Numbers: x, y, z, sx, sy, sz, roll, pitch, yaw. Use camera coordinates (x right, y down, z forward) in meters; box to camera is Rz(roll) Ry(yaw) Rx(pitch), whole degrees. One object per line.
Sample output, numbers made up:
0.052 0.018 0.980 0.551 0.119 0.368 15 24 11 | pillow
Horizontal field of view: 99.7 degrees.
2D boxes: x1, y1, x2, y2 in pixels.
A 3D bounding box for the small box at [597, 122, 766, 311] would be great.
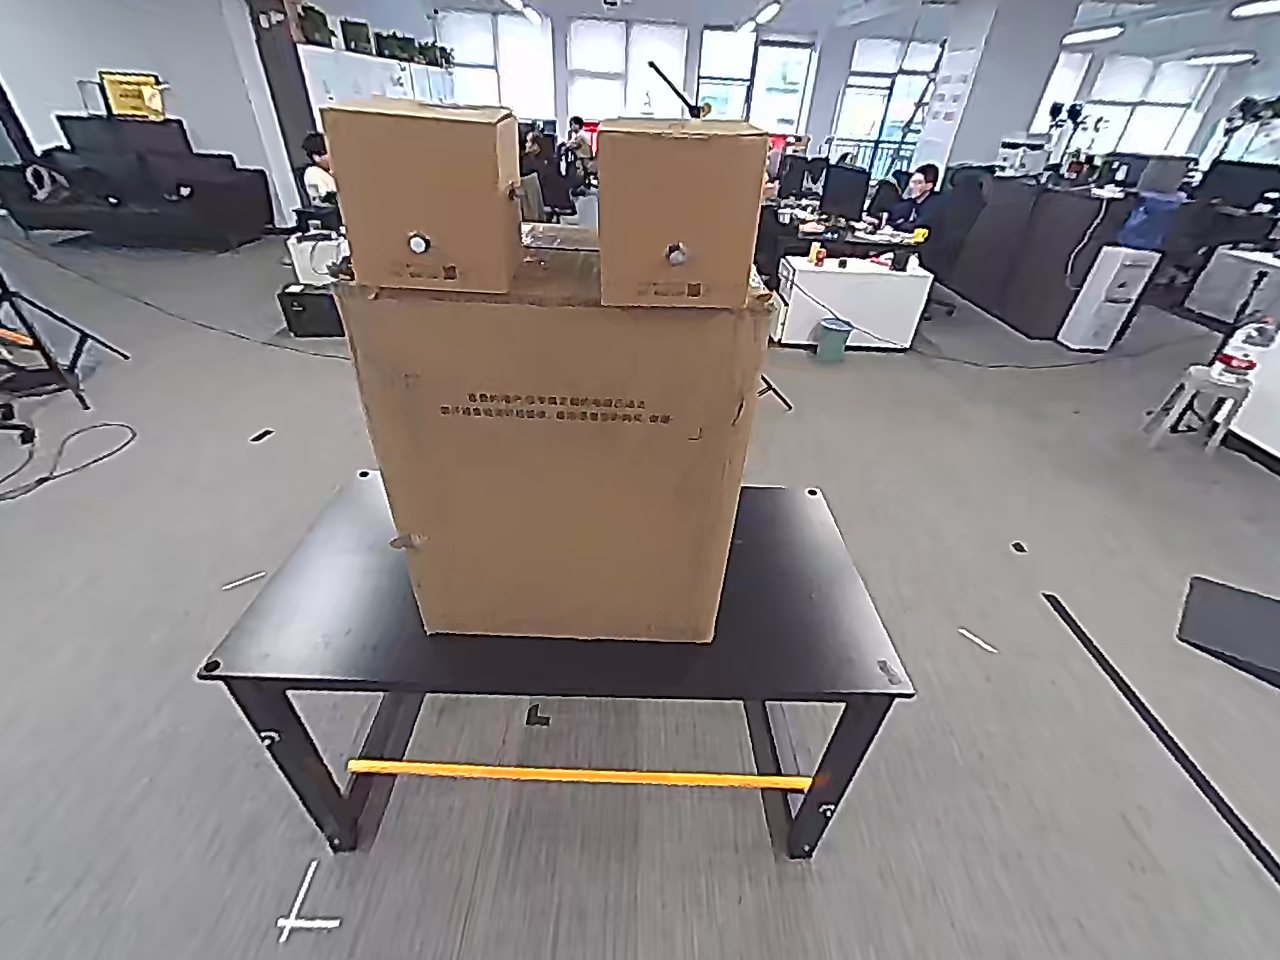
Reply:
0.038 -0.310 0.630 0.168 0.176 0.179 0 37 -1 | small box
